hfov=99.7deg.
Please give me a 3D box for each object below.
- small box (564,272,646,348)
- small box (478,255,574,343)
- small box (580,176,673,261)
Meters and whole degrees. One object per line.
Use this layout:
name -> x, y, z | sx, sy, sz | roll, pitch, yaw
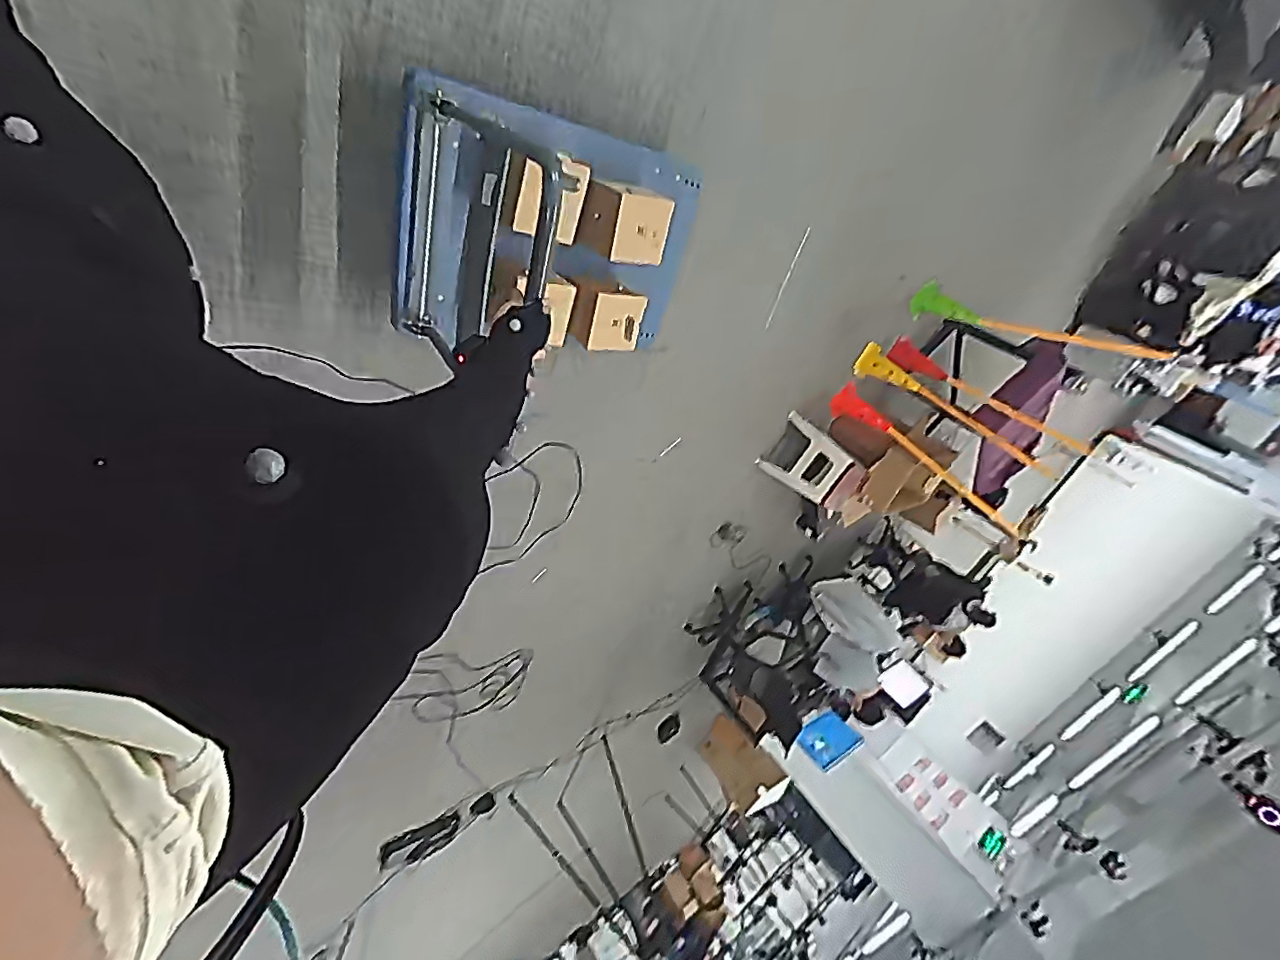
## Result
small box -> -0.116, -0.505, 1.602 | 0.179, 0.176, 0.168 | -10, 130, -37
small box -> -0.307, -0.484, 1.444 | 0.179, 0.176, 0.168 | -6, 129, -39
small box -> -0.043, -0.712, 1.473 | 0.179, 0.176, 0.168 | -12, 133, -36
